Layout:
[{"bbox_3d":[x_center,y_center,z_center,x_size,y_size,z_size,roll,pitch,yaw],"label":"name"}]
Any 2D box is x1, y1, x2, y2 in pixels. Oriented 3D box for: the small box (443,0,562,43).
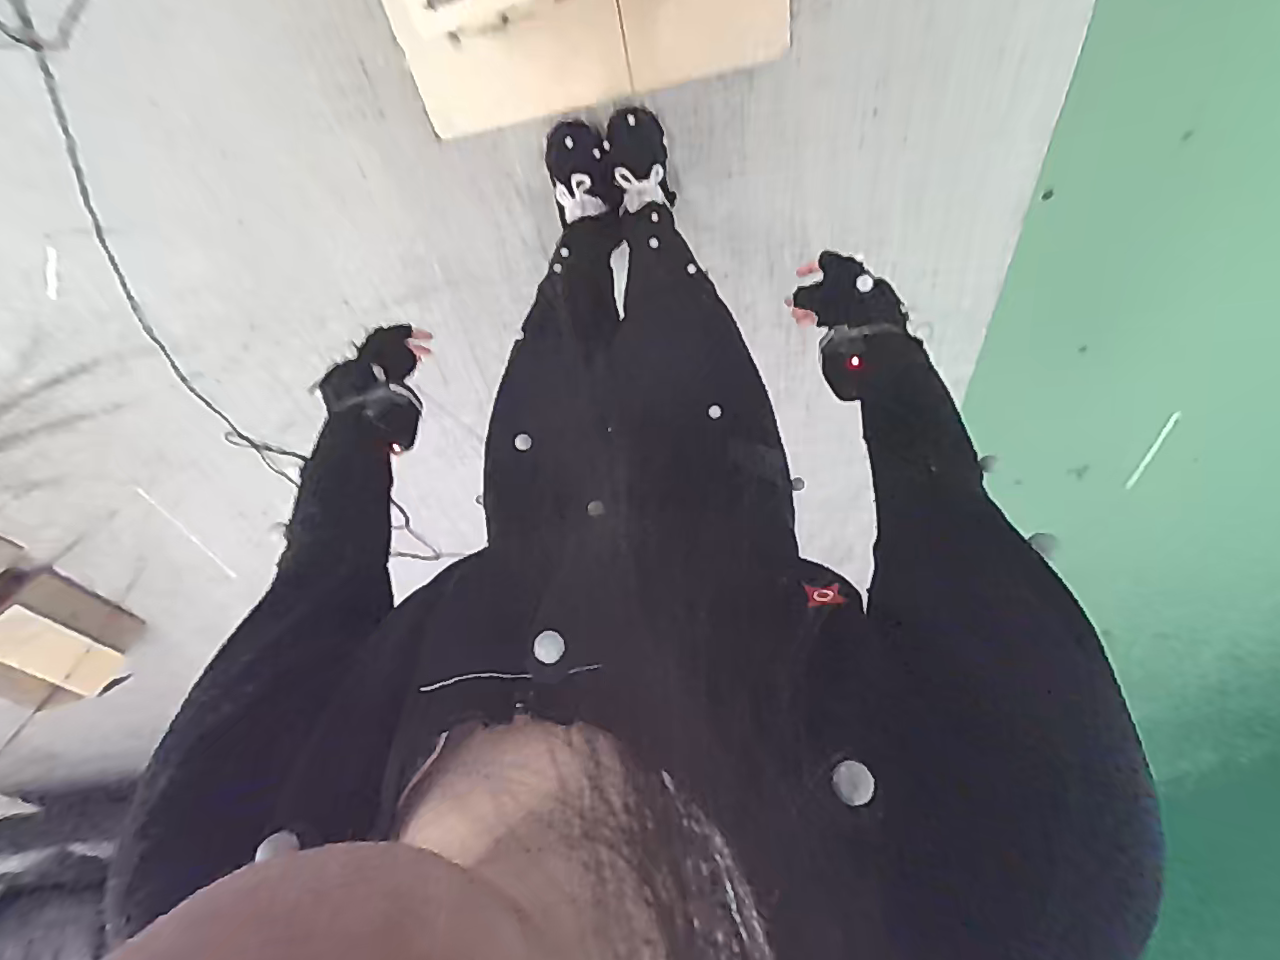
[{"bbox_3d":[-0.229,-0.819,0.839,0.168,0.176,0.179,-12,131,9],"label":"small box"}]
